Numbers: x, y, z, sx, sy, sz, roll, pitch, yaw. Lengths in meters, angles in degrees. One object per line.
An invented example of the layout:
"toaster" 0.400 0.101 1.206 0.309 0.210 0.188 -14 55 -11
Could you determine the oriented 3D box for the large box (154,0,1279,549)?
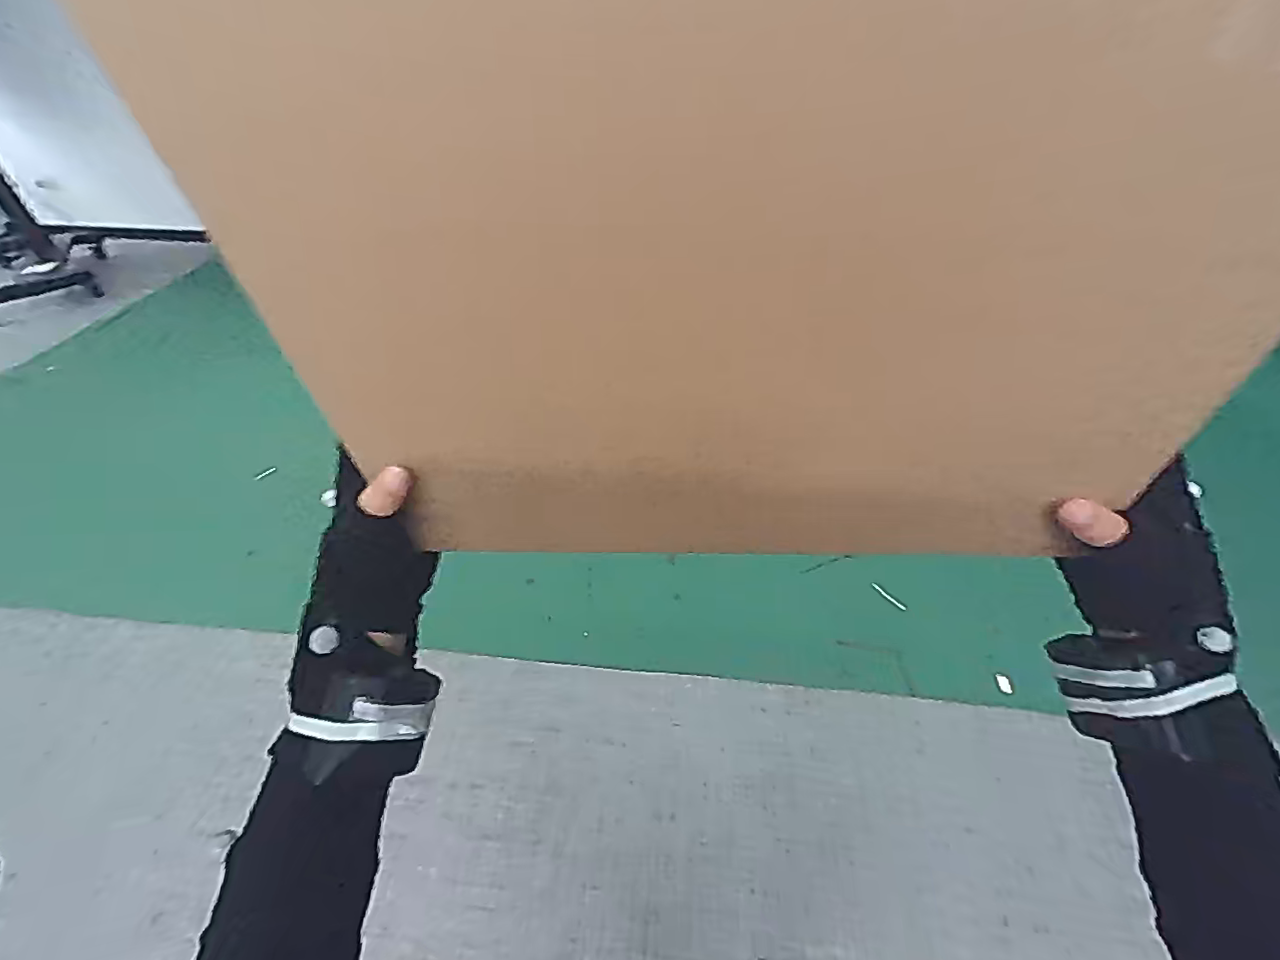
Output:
"large box" 0.062 -0.169 0.328 0.408 0.320 0.320 0 47 3
